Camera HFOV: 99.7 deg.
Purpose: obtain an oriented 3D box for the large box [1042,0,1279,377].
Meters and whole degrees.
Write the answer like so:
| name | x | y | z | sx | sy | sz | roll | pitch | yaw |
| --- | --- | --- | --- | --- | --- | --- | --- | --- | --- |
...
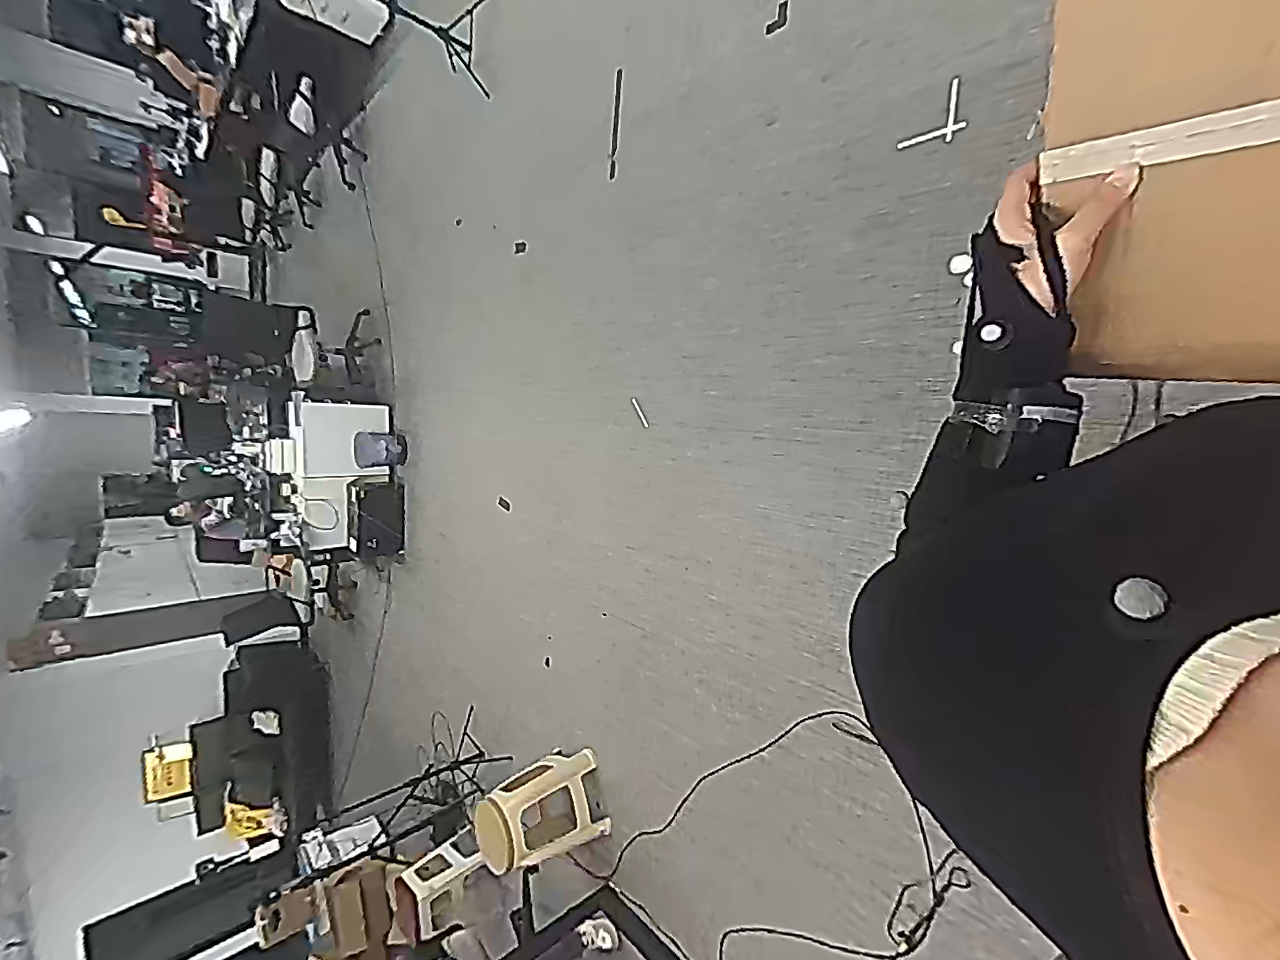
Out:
| name | x | y | z | sx | sy | sz | roll | pitch | yaw |
| --- | --- | --- | --- | --- | --- | --- | --- | --- | --- |
| large box | 0.528 | -0.263 | 0.327 | 0.408 | 0.320 | 0.320 | 12 | 128 | 46 |
